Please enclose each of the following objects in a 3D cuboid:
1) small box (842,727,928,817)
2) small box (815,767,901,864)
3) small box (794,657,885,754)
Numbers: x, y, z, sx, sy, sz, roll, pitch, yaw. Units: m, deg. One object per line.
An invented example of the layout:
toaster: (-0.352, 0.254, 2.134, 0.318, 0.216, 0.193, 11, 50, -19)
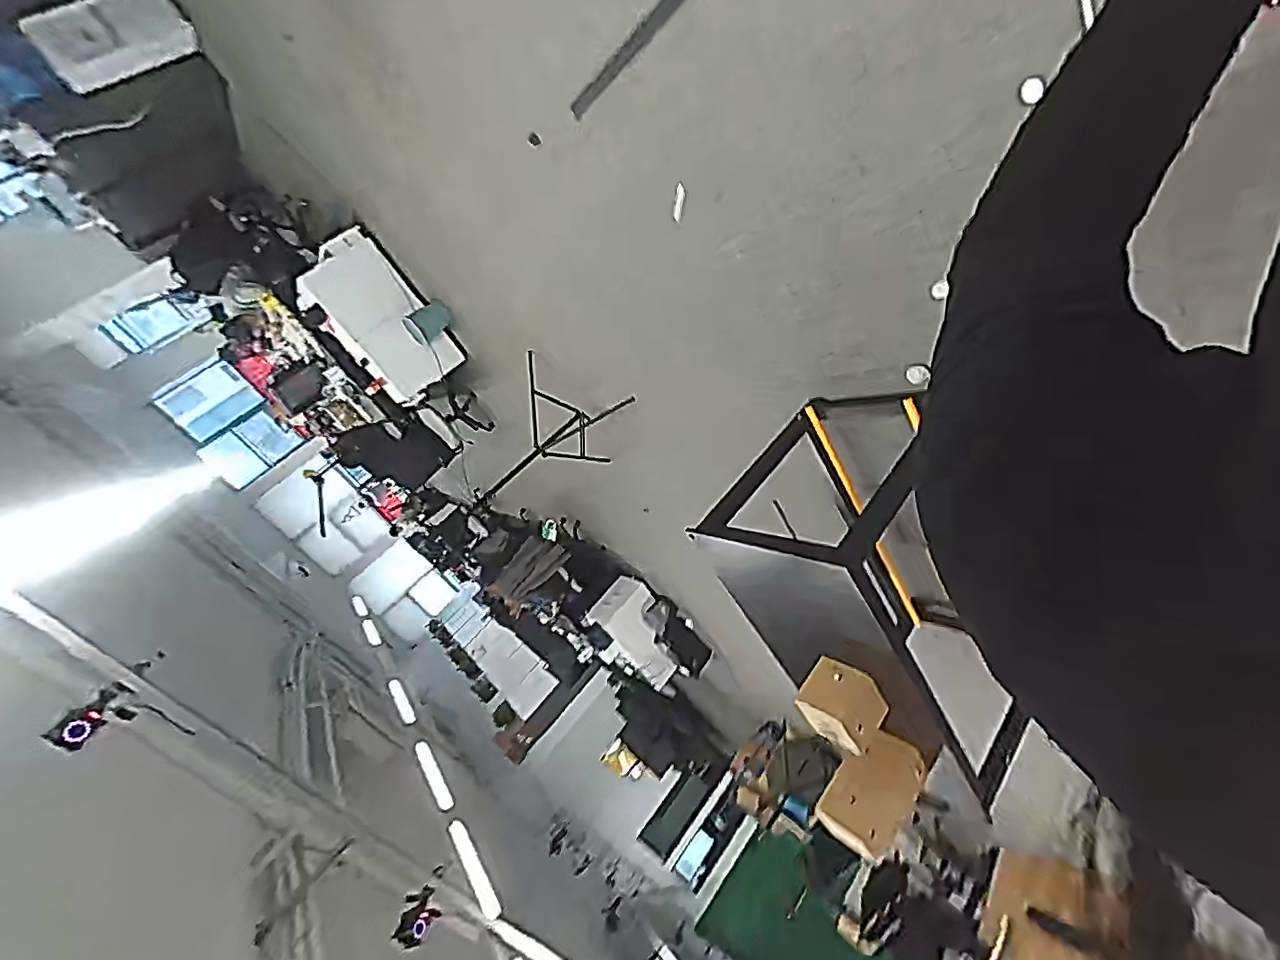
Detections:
small box: (0.800, 0.939, 1.762, 0.179, 0.176, 0.168, 9, 140, 54)
small box: (0.691, 1.052, 1.709, 0.168, 0.176, 0.179, 11, 142, 55)
small box: (0.604, 0.669, 1.622, 0.168, 0.176, 0.179, 8, 137, 57)
